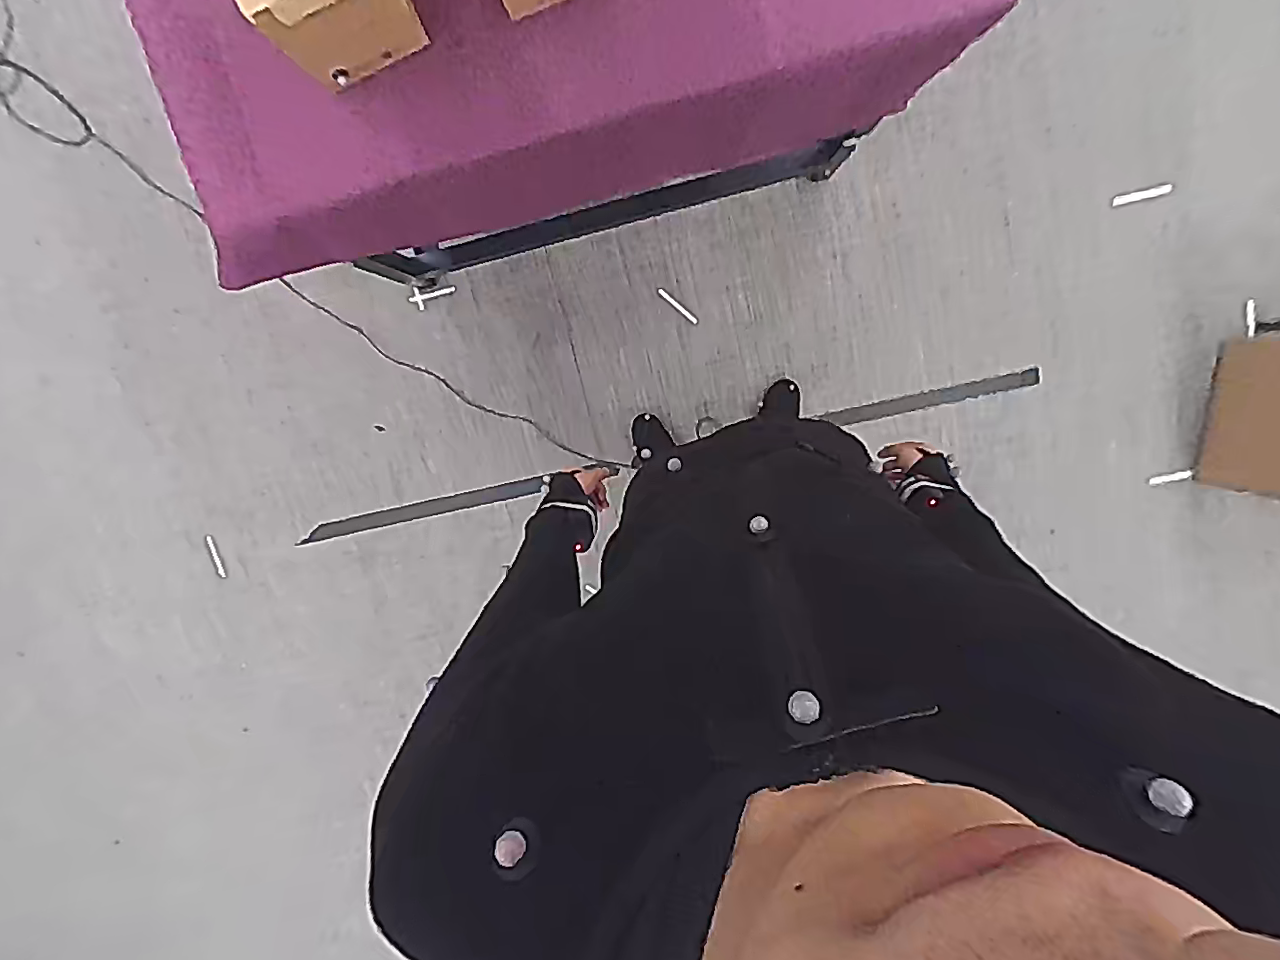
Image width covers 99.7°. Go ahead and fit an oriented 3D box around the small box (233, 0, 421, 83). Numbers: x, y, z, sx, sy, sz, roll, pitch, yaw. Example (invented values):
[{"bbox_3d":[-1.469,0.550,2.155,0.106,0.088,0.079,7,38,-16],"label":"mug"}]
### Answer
[{"bbox_3d":[-0.409,-0.646,0.677,0.168,0.176,0.179,-23,99,5],"label":"small box"}]
